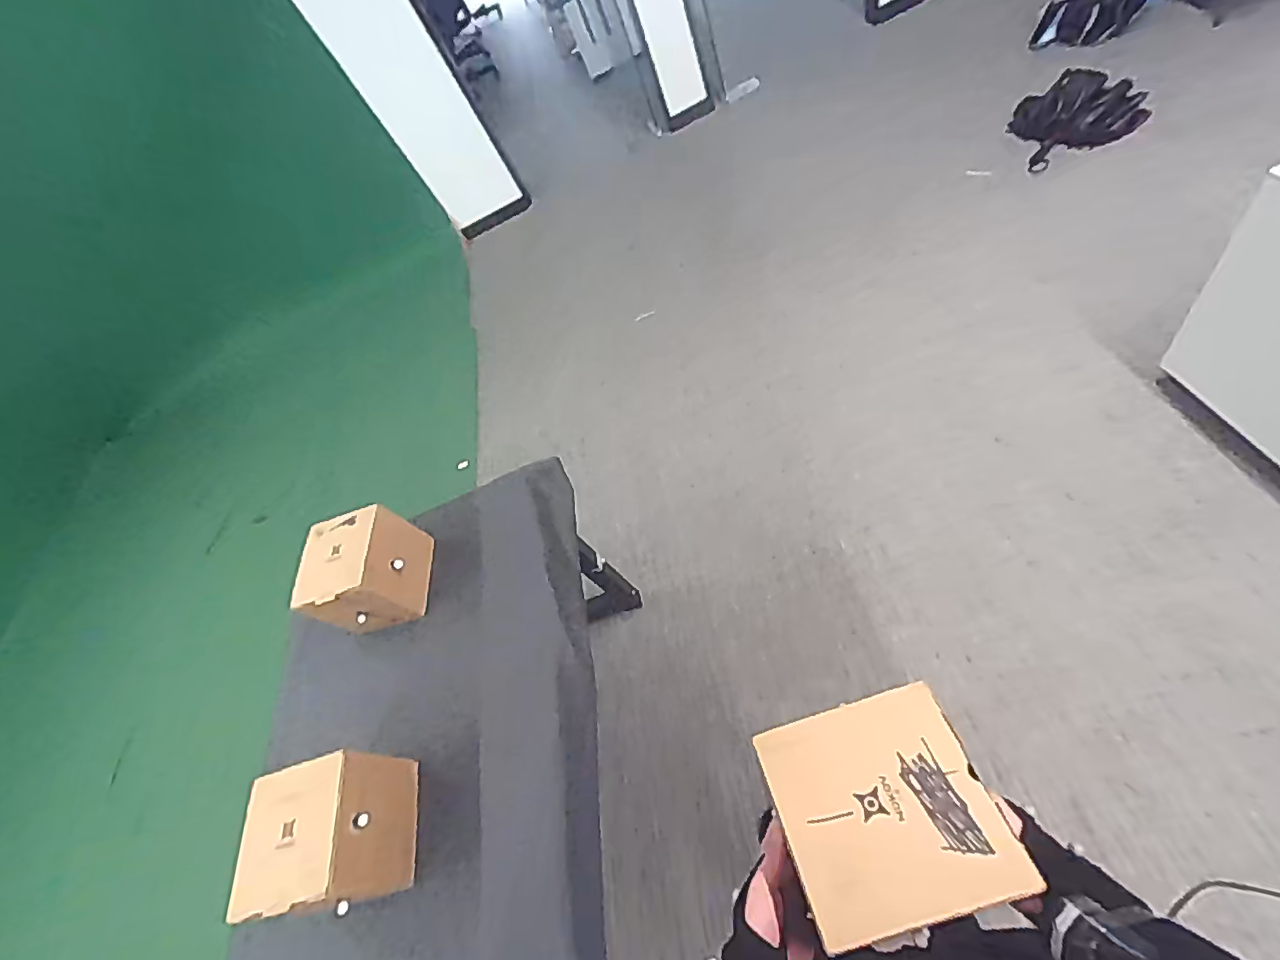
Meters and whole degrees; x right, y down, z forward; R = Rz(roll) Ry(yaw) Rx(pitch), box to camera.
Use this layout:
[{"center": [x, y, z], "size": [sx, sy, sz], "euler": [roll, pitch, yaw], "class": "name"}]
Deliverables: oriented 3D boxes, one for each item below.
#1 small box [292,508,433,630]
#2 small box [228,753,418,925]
[{"center": [-0.532, 0.184, 1.064], "size": [0.168, 0.176, 0.179], "euler": [-17, 55, 14], "class": "small box"}, {"center": [-0.456, 0.531, 0.810], "size": [0.168, 0.176, 0.179], "euler": [-21, 52, 9], "class": "small box"}]
